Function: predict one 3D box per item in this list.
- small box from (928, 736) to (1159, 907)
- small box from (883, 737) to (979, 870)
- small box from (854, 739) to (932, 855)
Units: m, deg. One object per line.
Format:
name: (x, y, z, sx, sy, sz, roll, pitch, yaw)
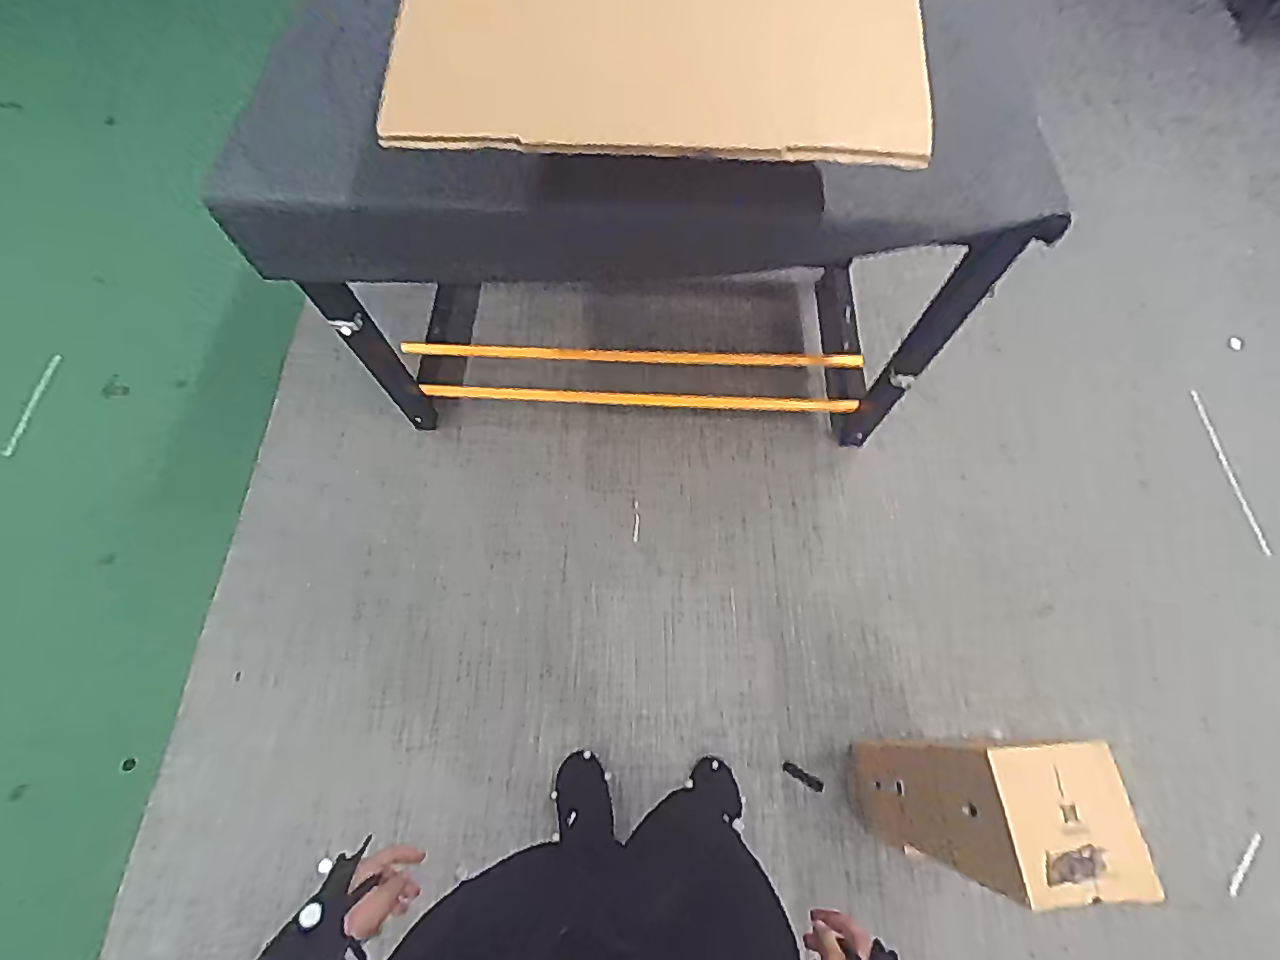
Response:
small box: (0.539, 0.460, 0.754, 0.168, 0.176, 0.179, -3, 65, -1)
small box: (0.541, 0.528, 0.904, 0.179, 0.176, 0.168, -4, 66, -1)
small box: (0.536, 0.602, 1.050, 0.168, 0.176, 0.179, -4, 66, -1)
